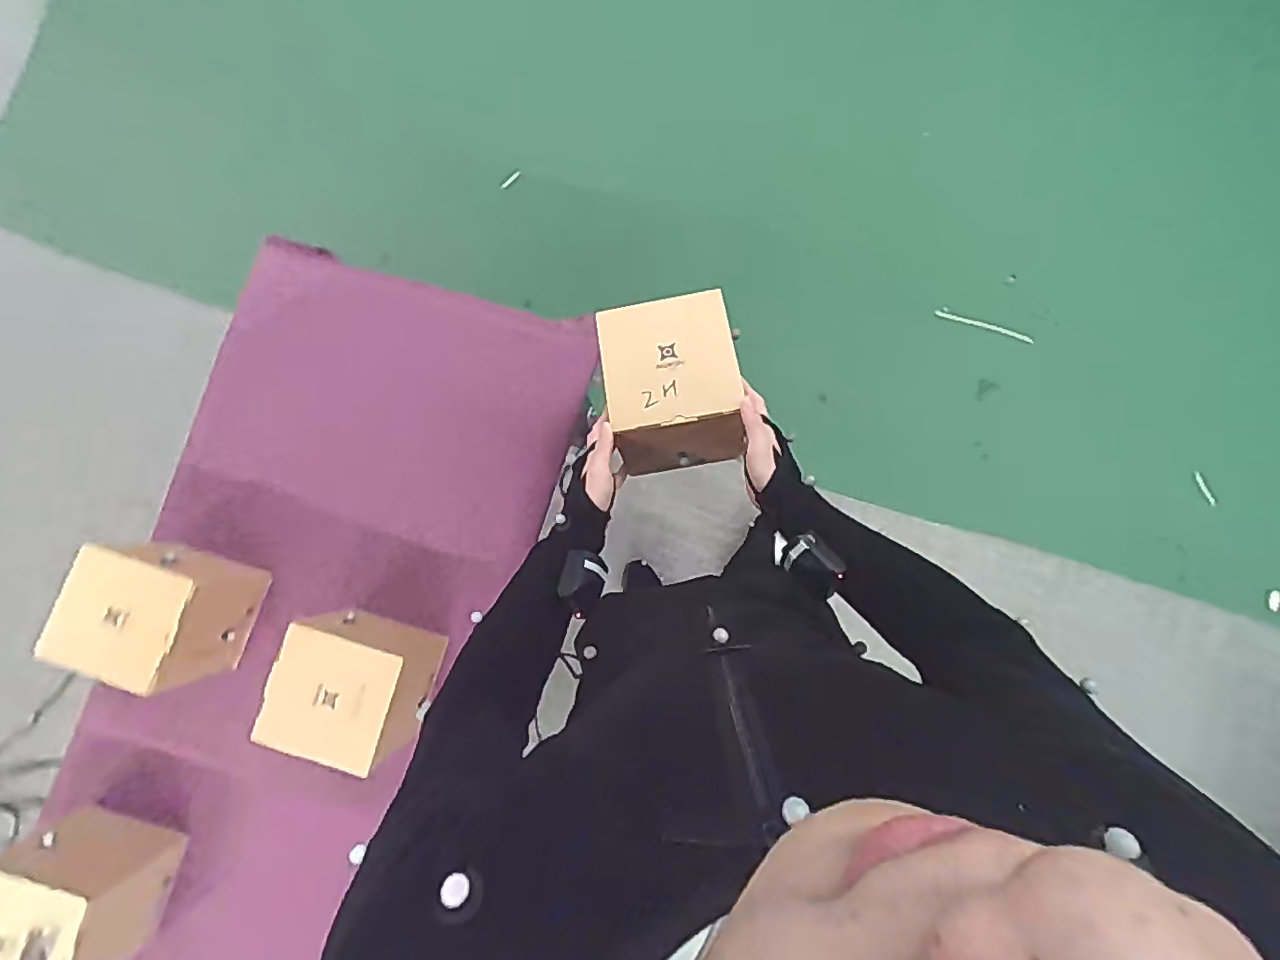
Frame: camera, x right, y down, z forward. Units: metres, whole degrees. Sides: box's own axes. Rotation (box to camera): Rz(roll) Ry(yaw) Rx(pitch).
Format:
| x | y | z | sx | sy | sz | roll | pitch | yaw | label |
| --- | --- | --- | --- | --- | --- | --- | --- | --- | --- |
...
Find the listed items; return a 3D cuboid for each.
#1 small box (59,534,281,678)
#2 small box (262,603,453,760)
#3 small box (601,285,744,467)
| x | y | z | sx | sy | sz | roll | pitch | yaw | label |
| --- | --- | --- | --- | --- | --- | --- | --- | --- | --- |
| -0.735 | 0.193 | 0.868 | 0.179 | 0.176 | 0.168 | 18 | 84 | 2 | small box |
| -0.427 | 0.299 | 0.845 | 0.179 | 0.176 | 0.168 | 16 | 85 | 5 | small box |
| 0.046 | -0.135 | 0.749 | 0.168 | 0.176 | 0.179 | -8 | 71 | 6 | small box |
